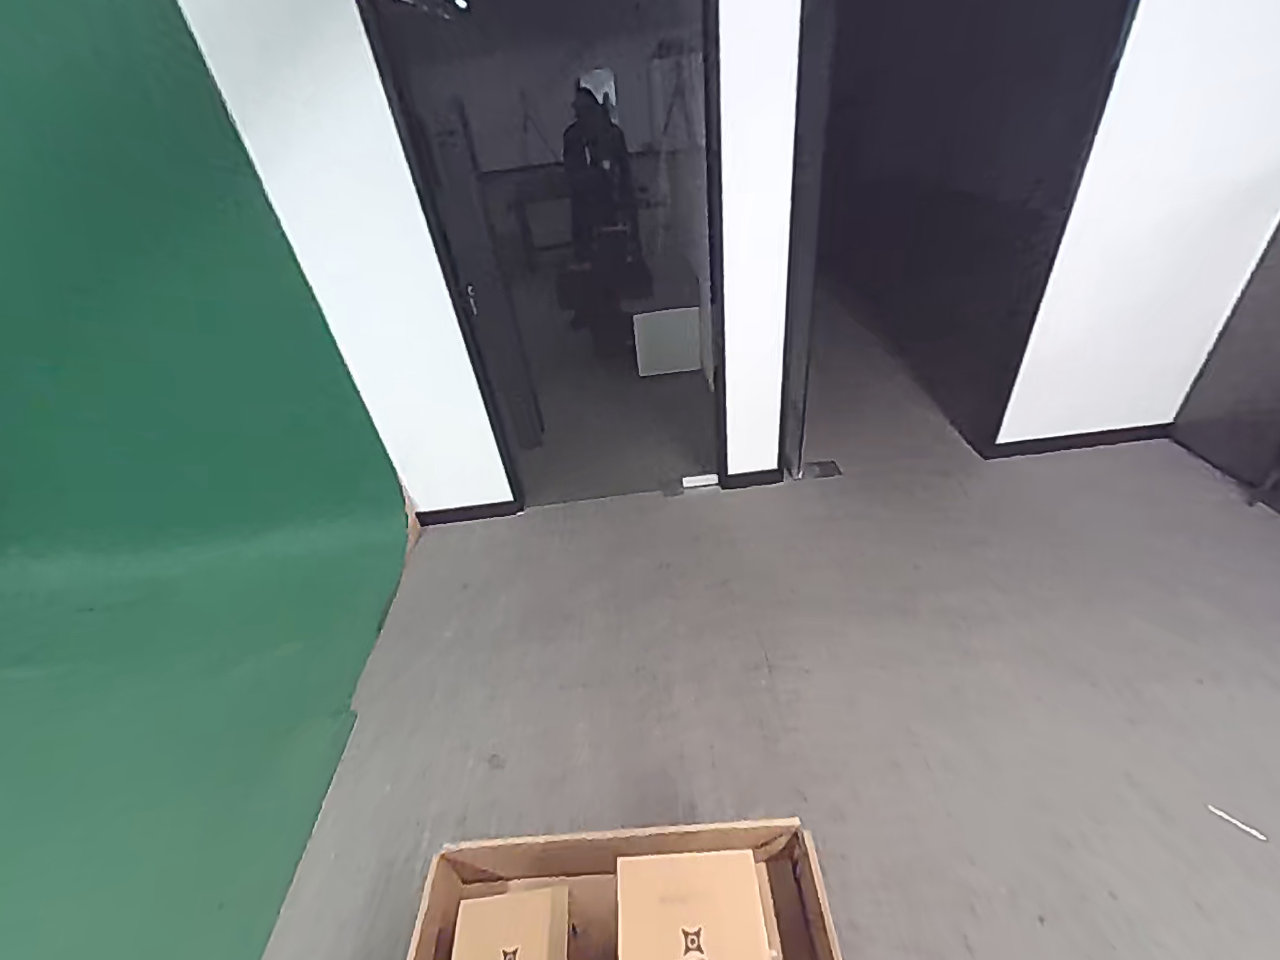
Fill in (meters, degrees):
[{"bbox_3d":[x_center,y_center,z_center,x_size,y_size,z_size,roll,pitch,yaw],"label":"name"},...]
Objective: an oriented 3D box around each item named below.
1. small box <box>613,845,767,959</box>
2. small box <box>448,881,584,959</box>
[{"bbox_3d":[0.055,0.555,0.632,0.168,0.176,0.179,-2,41,-1],"label":"small box"},{"bbox_3d":[-0.175,0.720,0.782,0.168,0.176,0.179,-7,36,0],"label":"small box"}]
